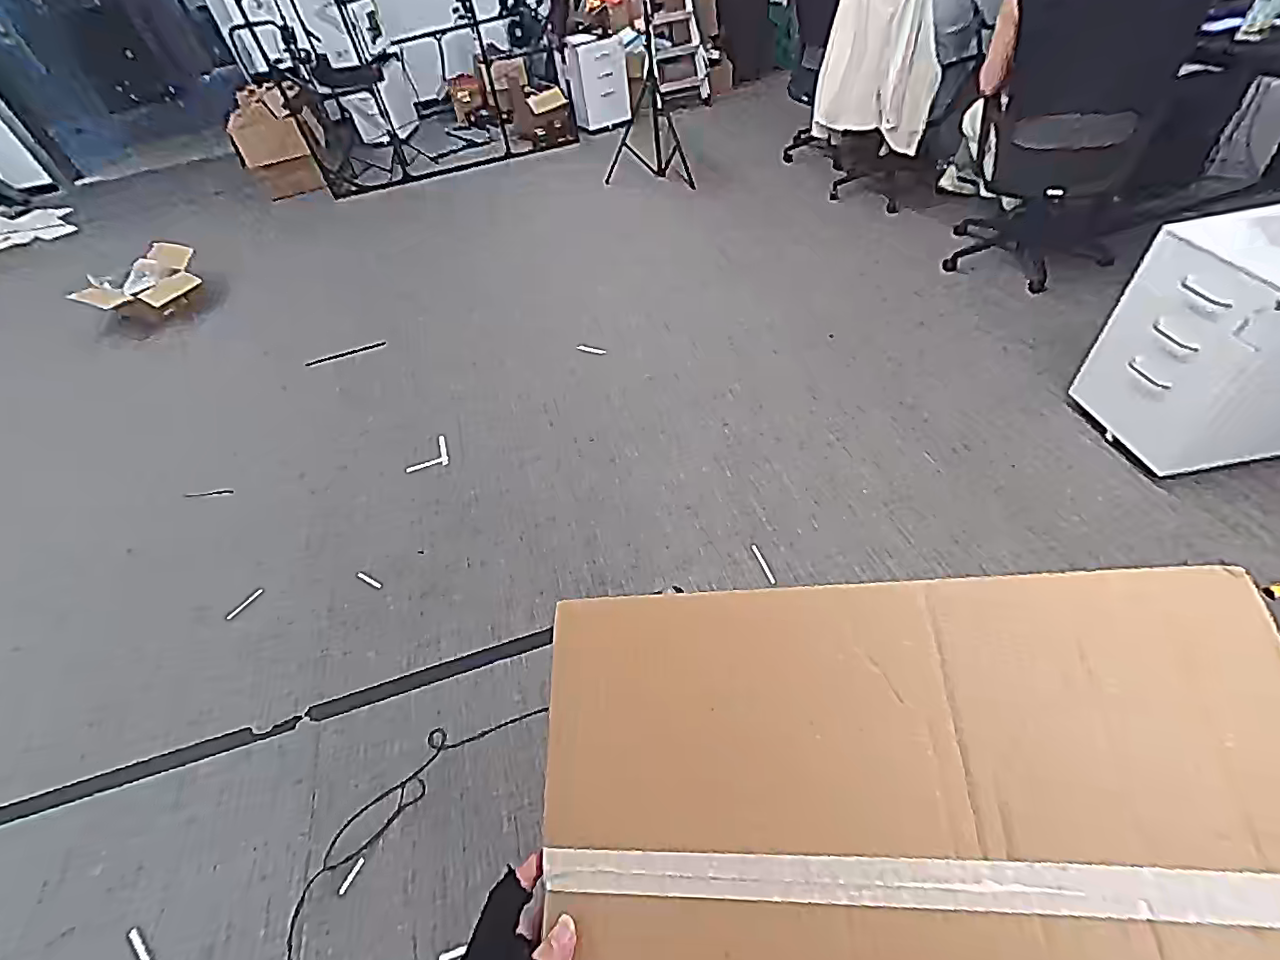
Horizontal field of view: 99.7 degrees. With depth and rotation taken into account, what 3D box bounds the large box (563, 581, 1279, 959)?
[{"bbox_3d":[0.179,0.278,0.425,0.408,0.320,0.320,-6,67,12],"label":"large box"}]
